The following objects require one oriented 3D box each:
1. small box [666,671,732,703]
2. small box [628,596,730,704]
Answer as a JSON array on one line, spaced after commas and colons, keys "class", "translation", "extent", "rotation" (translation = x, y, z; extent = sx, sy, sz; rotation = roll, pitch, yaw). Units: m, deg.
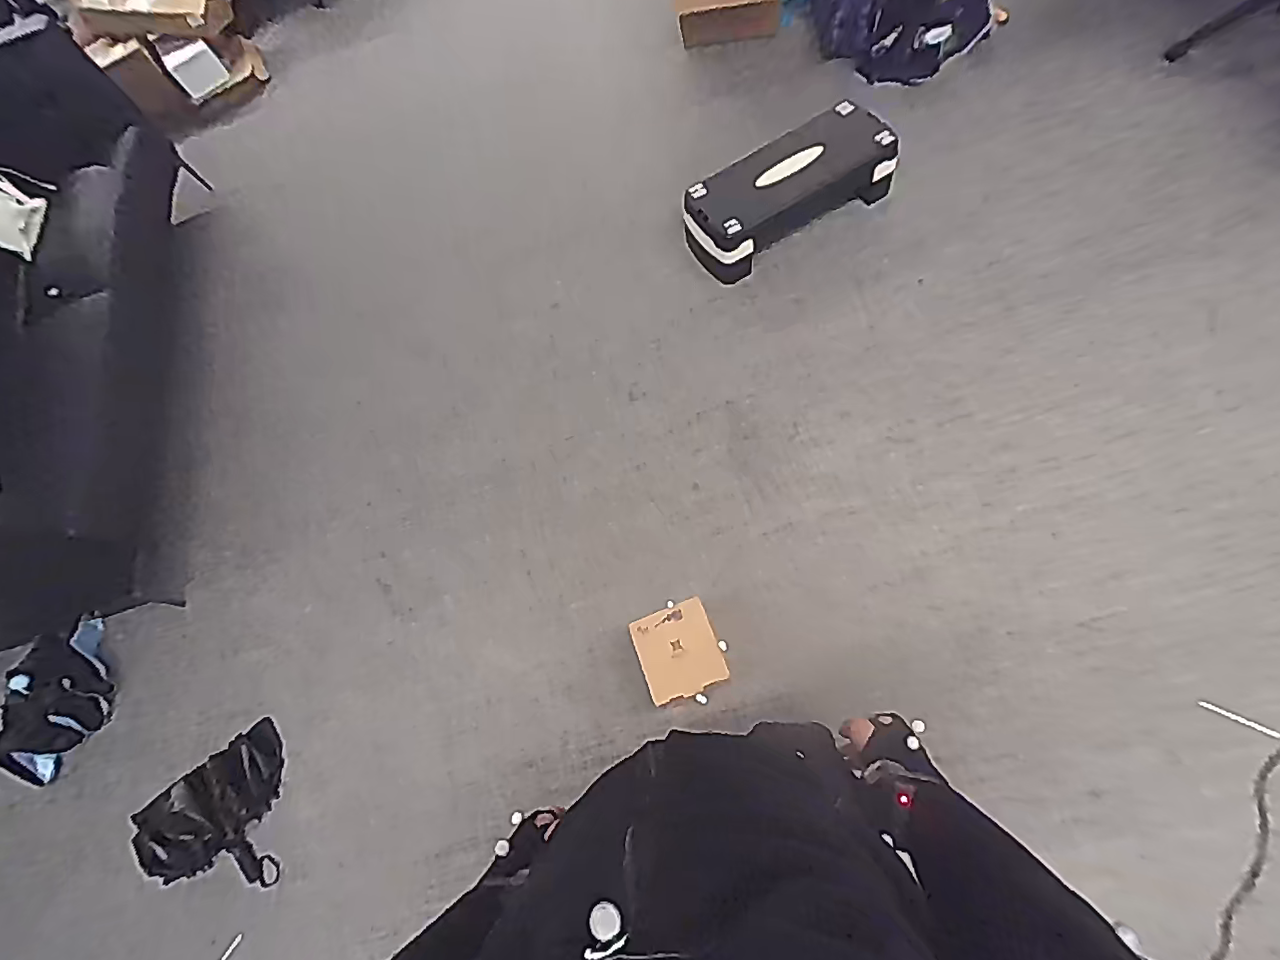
[{"class": "small box", "translation": [0.118, 0.436, 1.335], "extent": [0.168, 0.176, 0.179], "rotation": [-24, 66, 2]}, {"class": "small box", "translation": [0.091, 0.374, 1.186], "extent": [0.168, 0.176, 0.179], "rotation": [-22, 66, 3]}]
